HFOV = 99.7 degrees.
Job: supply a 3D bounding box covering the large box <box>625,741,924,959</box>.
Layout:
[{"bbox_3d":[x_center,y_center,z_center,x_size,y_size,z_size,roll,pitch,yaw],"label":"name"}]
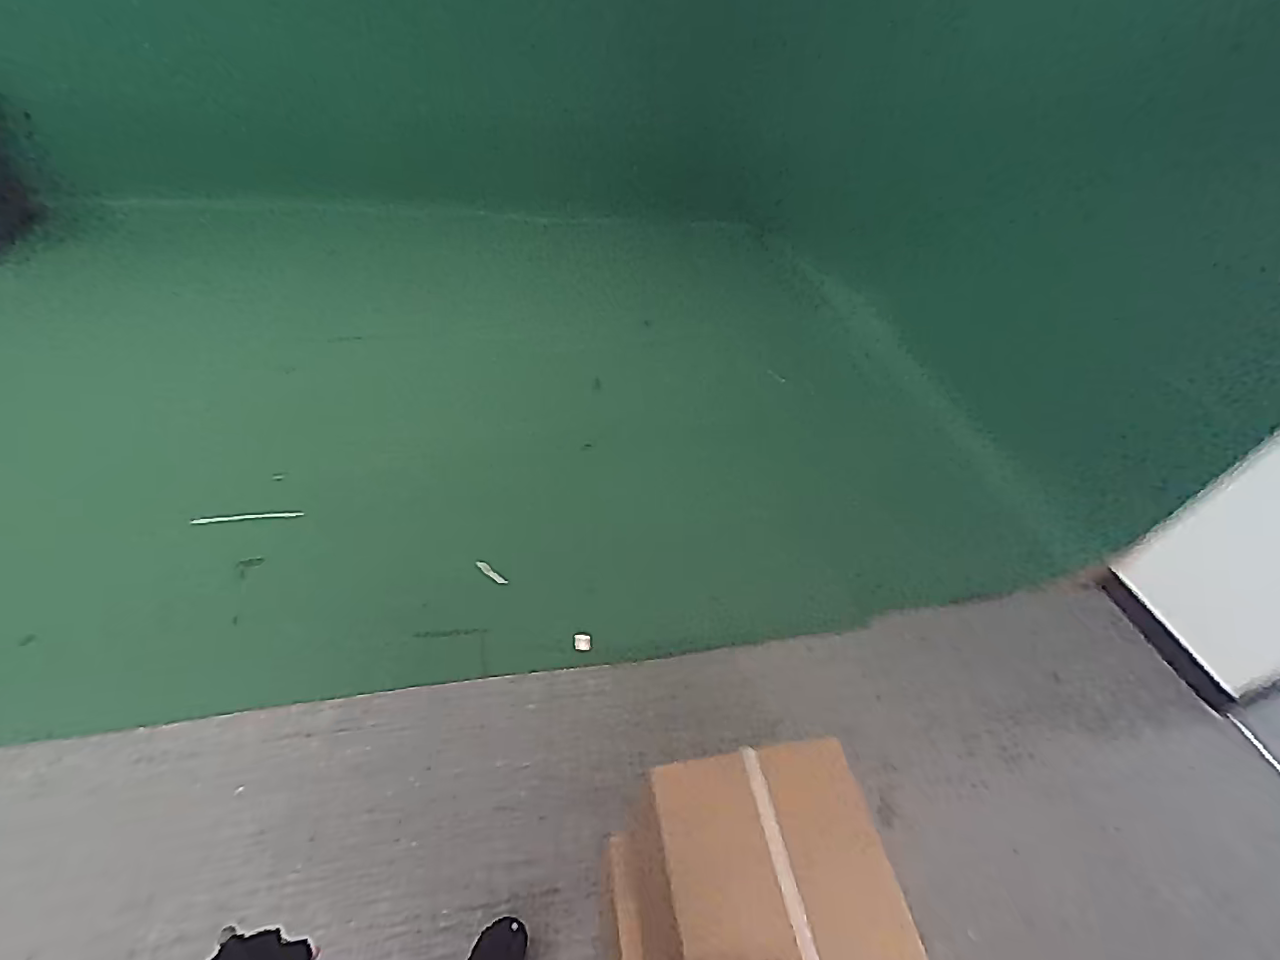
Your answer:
[{"bbox_3d":[0.178,0.667,0.812,0.320,0.320,0.408,-1,48,-14],"label":"large box"}]
